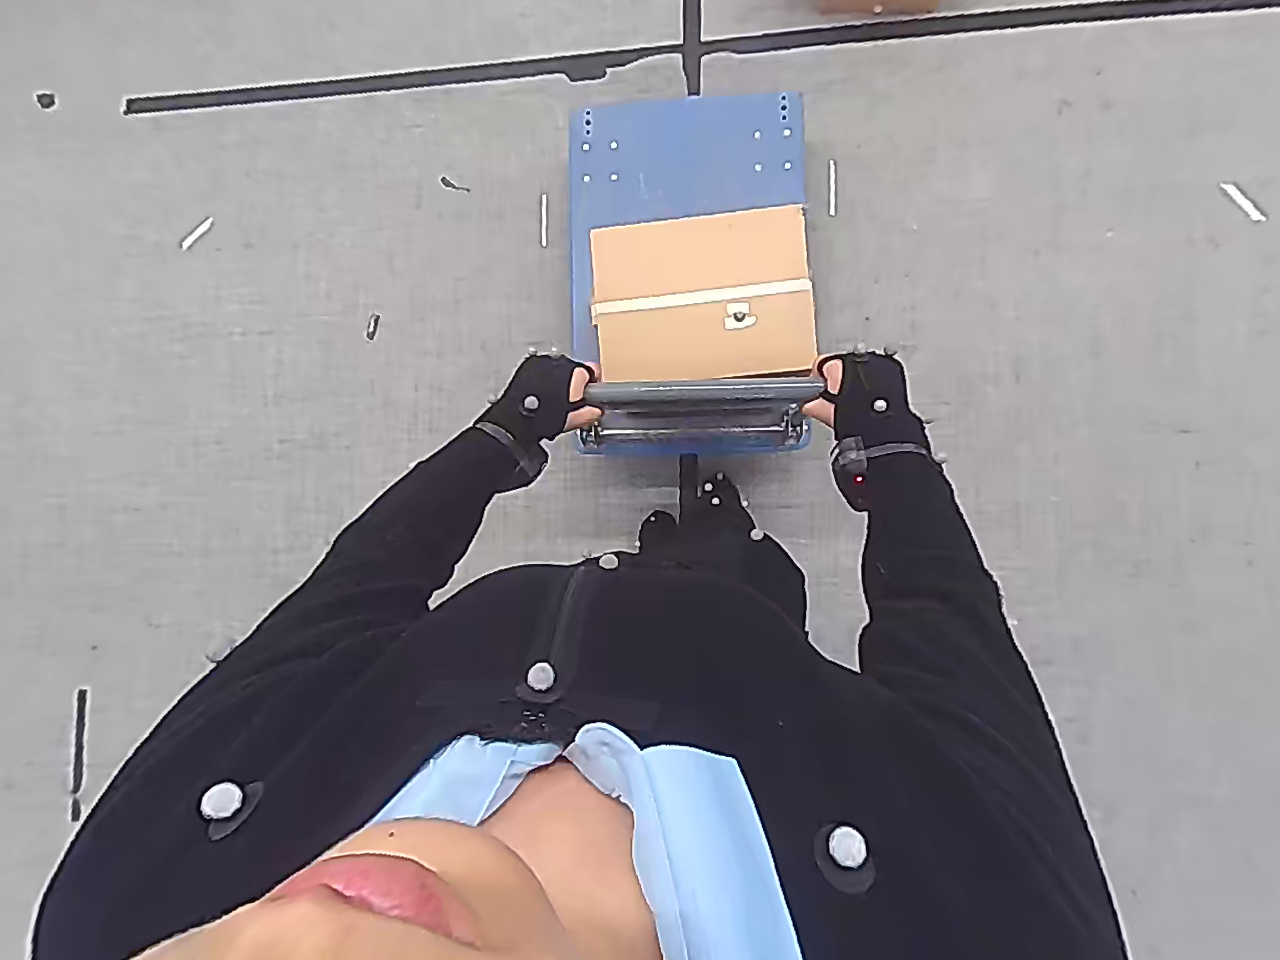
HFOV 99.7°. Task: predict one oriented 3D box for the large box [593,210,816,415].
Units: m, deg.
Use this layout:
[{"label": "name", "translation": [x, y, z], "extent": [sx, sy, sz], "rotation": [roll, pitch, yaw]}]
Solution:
[{"label": "large box", "translation": [0.127, -0.334, 1.174], "extent": [0.408, 0.320, 0.320], "rotation": [-5, 88, 3]}]
